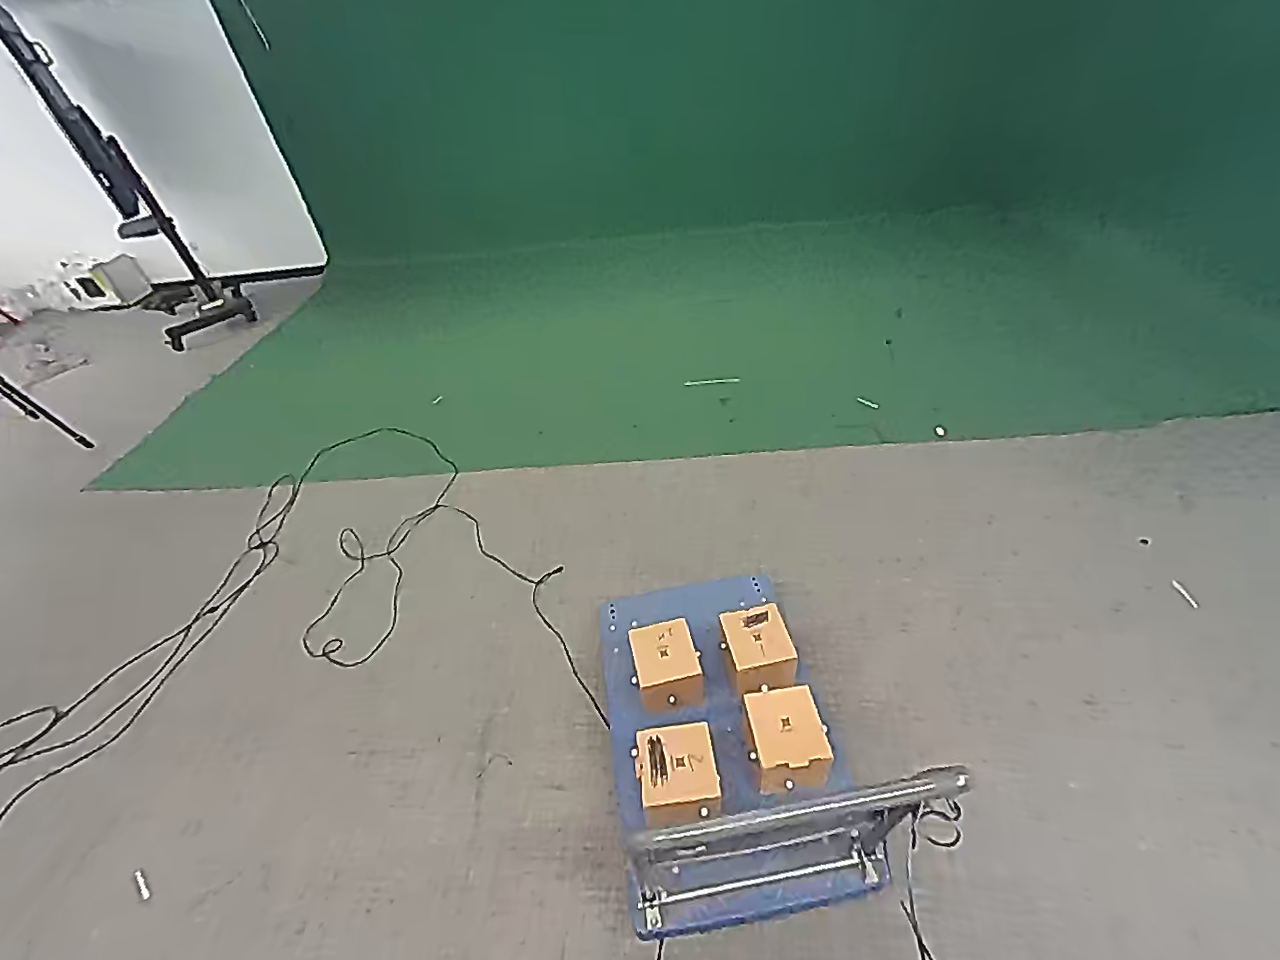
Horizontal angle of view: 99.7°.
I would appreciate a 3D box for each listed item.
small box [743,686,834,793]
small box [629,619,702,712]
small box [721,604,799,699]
[{"bbox_3d":[0.354,0.638,1.327,0.168,0.176,0.179,-9,42,-1],"label":"small box"},{"bbox_3d":[0.072,0.520,1.498,0.168,0.176,0.179,-11,42,-5],"label":"small box"},{"bbox_3d":[0.325,0.477,1.506,0.168,0.176,0.179,-12,43,-3],"label":"small box"}]
